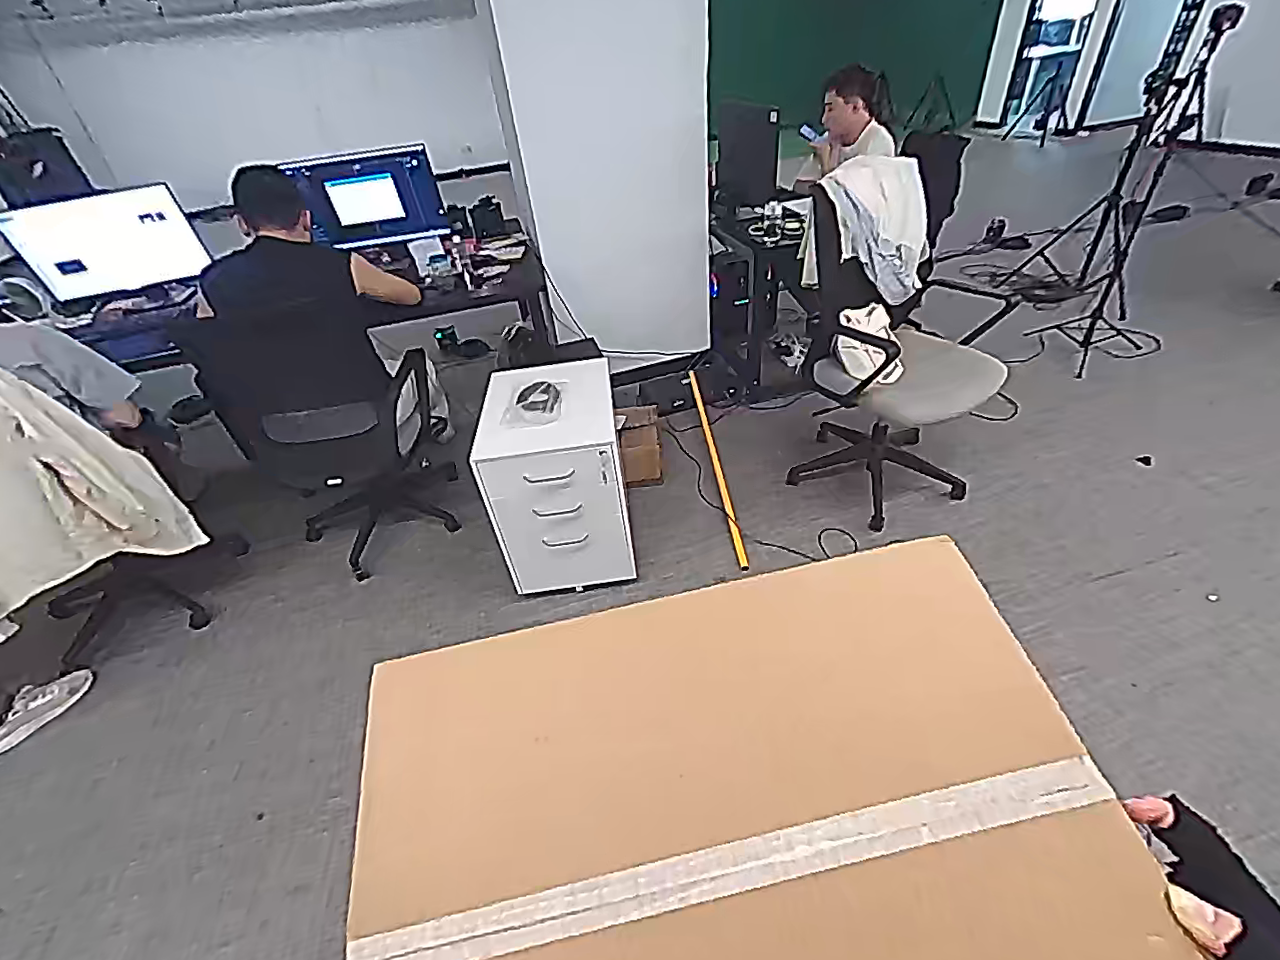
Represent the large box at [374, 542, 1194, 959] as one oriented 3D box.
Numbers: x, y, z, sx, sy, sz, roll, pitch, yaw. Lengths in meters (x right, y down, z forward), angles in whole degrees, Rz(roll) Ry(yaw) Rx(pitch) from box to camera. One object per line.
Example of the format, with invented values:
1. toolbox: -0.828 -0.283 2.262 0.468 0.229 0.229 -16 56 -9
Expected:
1. large box: 0.065 0.295 0.411 0.408 0.320 0.320 -13 55 -2
